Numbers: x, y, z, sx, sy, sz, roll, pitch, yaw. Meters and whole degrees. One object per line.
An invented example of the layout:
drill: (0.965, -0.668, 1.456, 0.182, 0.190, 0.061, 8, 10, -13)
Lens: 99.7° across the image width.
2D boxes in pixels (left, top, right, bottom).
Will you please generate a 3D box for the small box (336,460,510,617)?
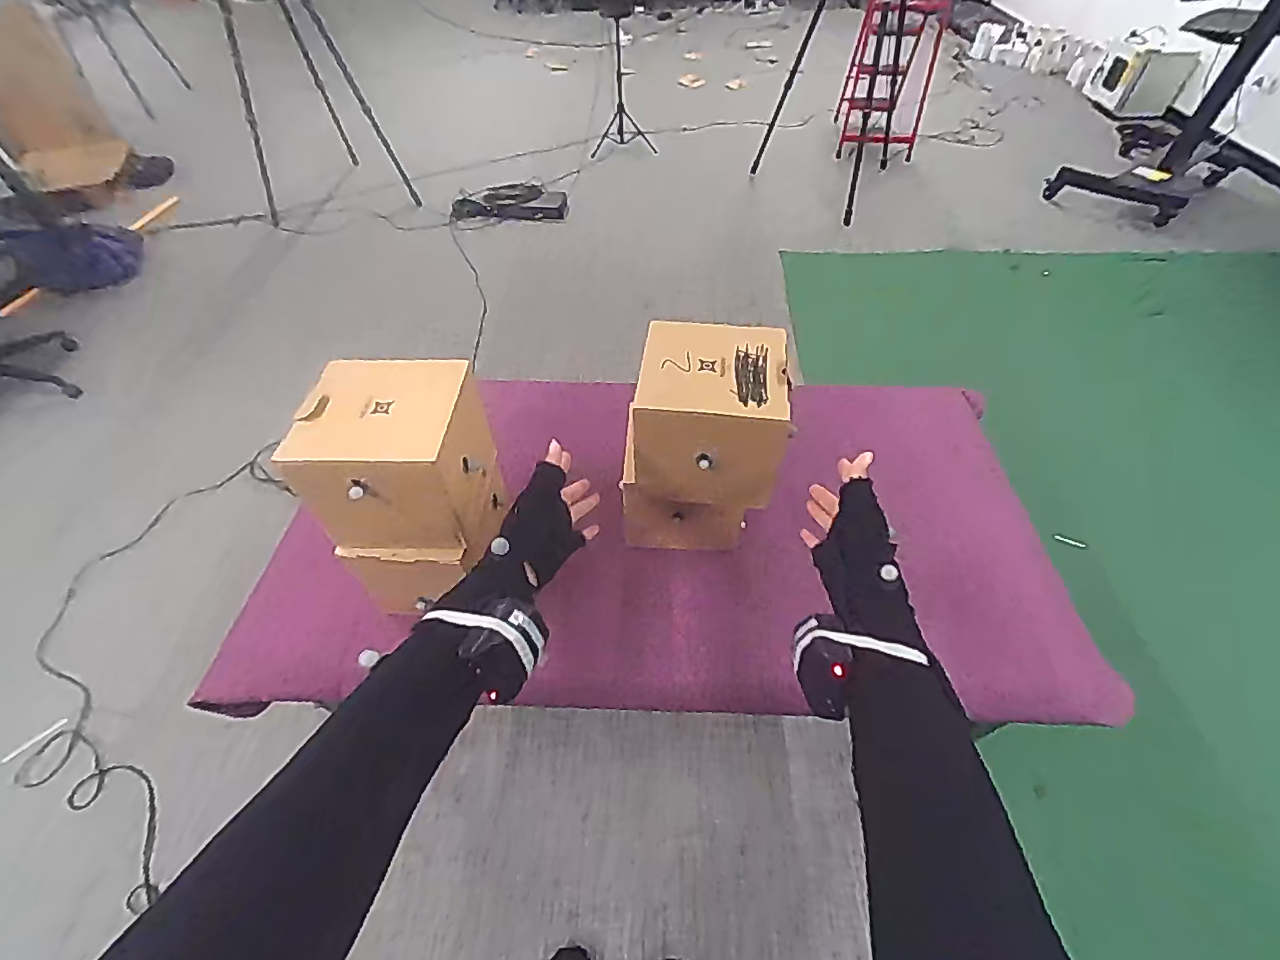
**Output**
small box: (-0.297, 0.079, 0.791, 0.168, 0.176, 0.179, 4, 52, 3)

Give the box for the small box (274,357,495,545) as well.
small box: (-0.292, -0.032, 0.671, 0.179, 0.176, 0.168, 1, 51, 1)

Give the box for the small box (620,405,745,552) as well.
small box: (0.064, 0.001, 0.856, 0.179, 0.176, 0.168, 3, 52, 3)
